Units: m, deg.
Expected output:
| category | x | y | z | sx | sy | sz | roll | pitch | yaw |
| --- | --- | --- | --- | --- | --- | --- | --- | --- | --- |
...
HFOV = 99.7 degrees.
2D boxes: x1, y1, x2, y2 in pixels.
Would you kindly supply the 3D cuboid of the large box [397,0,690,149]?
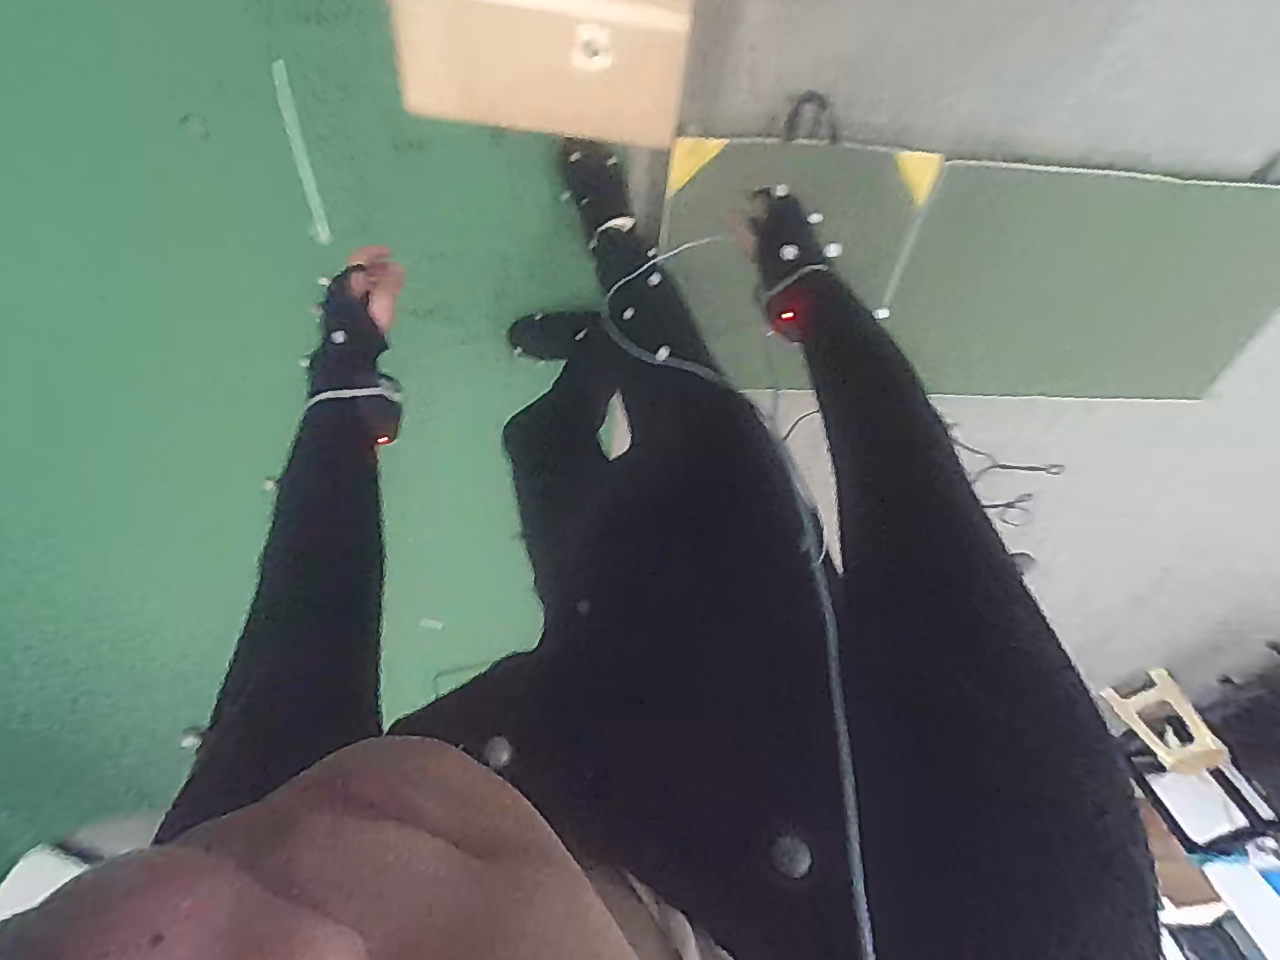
| category | x | y | z | sx | sy | sz | roll | pitch | yaw |
| --- | --- | --- | --- | --- | --- | --- | --- | --- | --- |
| large box | -0.148 | -0.750 | 0.855 | 0.408 | 0.320 | 0.320 | 1 | 132 | -10 |
